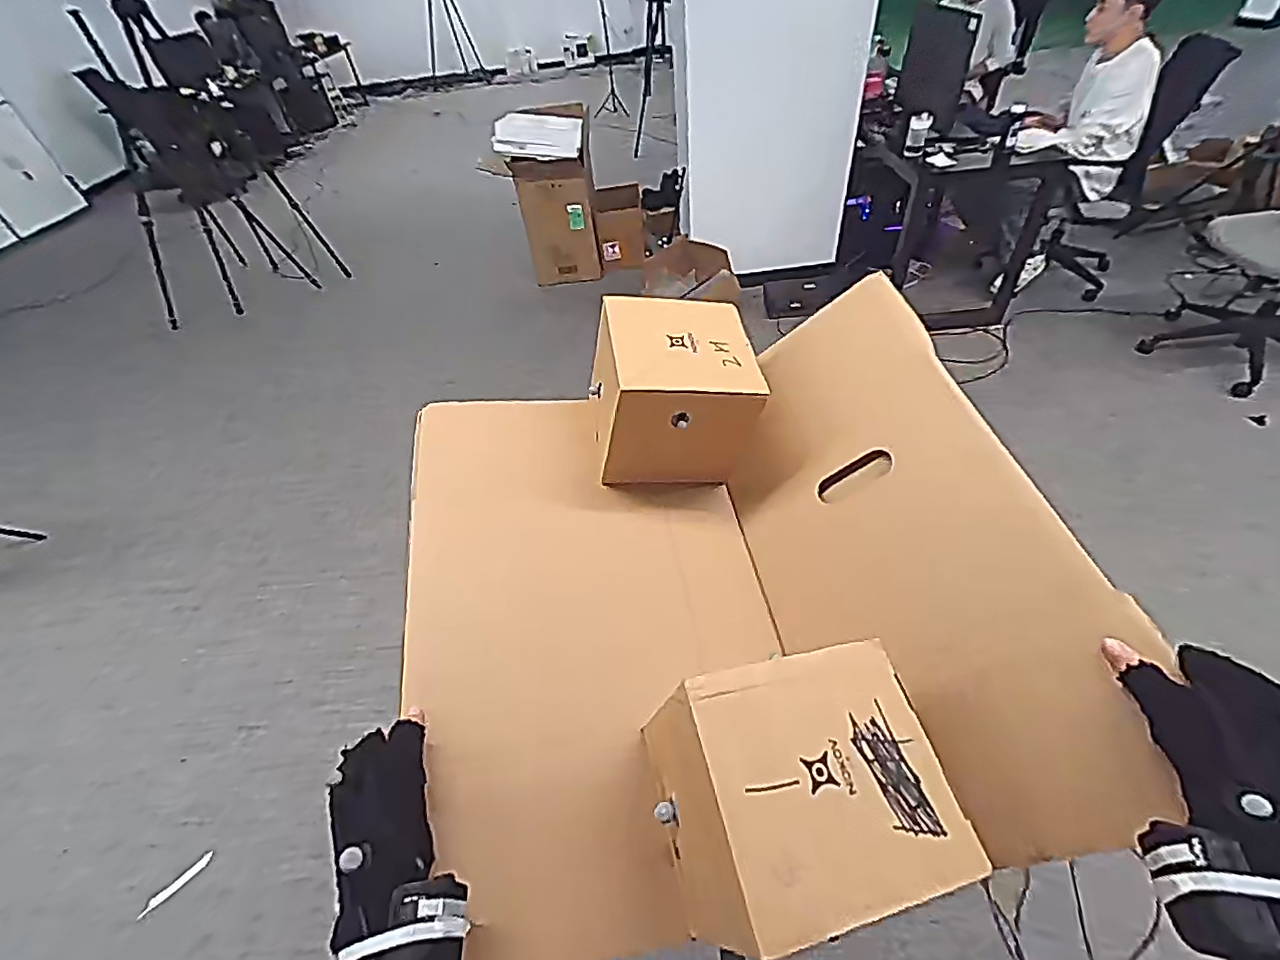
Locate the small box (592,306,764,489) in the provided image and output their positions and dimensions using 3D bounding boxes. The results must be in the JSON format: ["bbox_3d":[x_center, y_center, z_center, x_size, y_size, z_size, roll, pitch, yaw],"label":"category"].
[{"bbox_3d":[0.033,-0.101,0.697,0.179,0.176,0.168,0,53,-13],"label":"small box"}]
